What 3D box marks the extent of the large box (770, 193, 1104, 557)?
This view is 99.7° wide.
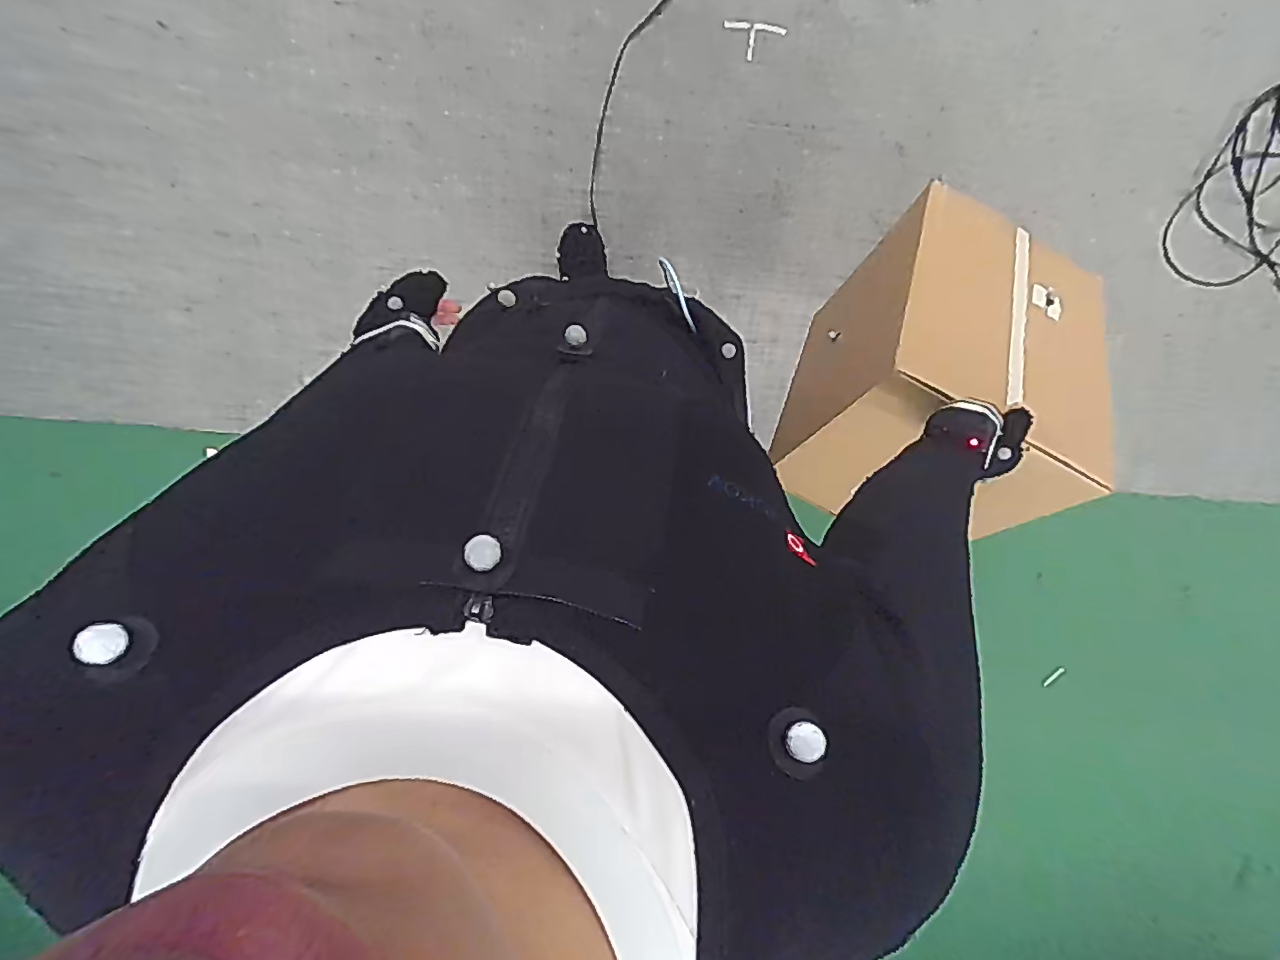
[{"bbox_3d":[0.451,-0.147,0.862,0.320,0.408,0.320,28,151,-6],"label":"large box"}]
